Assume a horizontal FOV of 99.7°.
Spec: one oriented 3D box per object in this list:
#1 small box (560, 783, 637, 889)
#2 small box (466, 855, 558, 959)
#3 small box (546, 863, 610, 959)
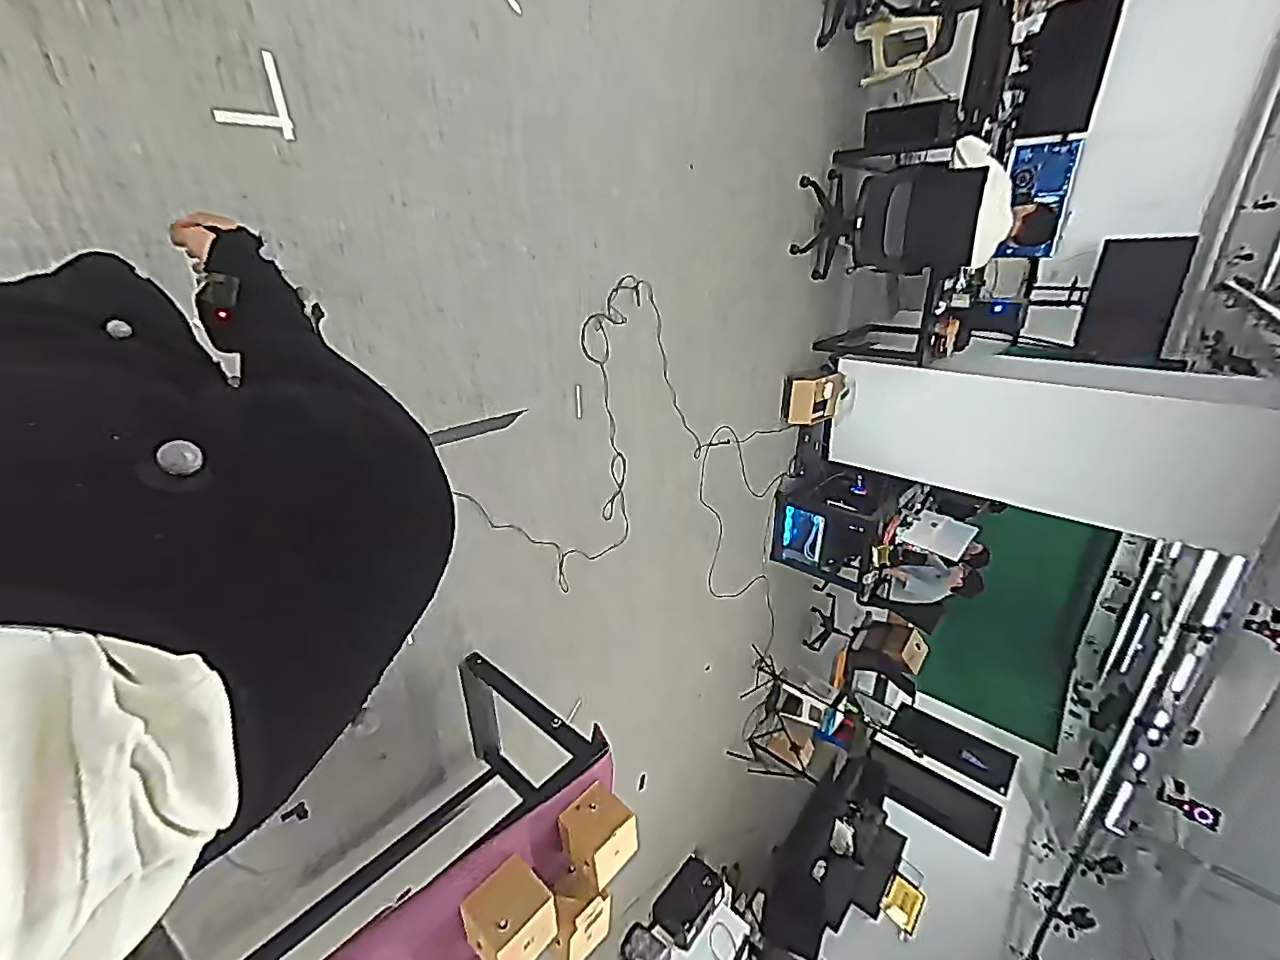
[{"bbox_3d":[-0.126,1.078,1.654,0.168,0.176,0.179,-27,124,-40],"label":"small box"},{"bbox_3d":[-0.340,1.153,1.424,0.179,0.176,0.168,-24,123,-44],"label":"small box"},{"bbox_3d":[-0.210,1.327,1.657,0.168,0.176,0.179,-17,117,-46],"label":"small box"}]
